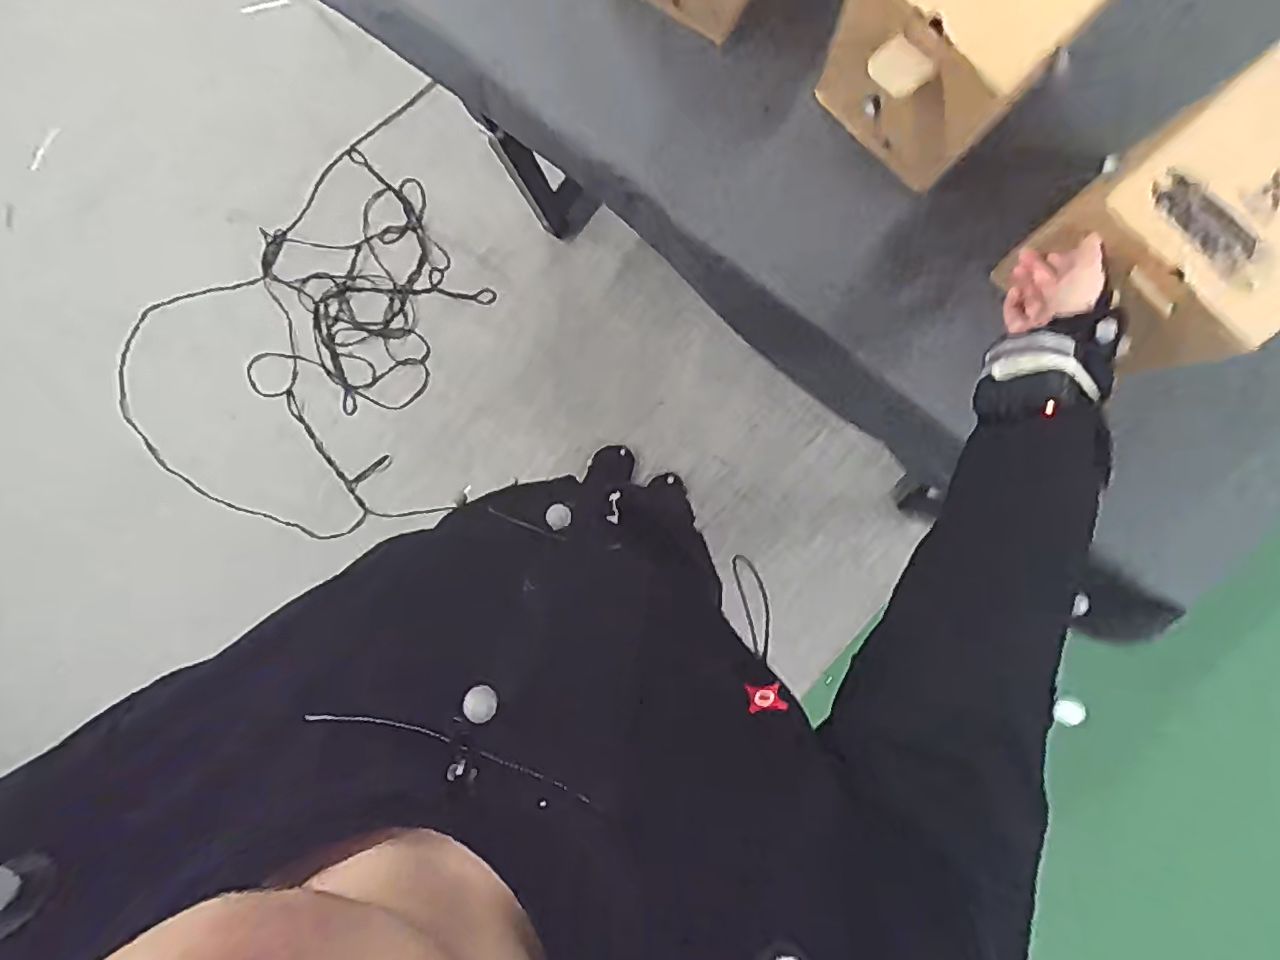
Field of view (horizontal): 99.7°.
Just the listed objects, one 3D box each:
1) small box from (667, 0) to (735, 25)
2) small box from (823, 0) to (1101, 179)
[{"bbox_3d":[0.054,-0.602,0.515,0.168,0.176,0.179,31,93,2],"label":"small box"},{"bbox_3d":[0.300,-0.432,0.499,0.168,0.176,0.179,45,95,2],"label":"small box"}]
